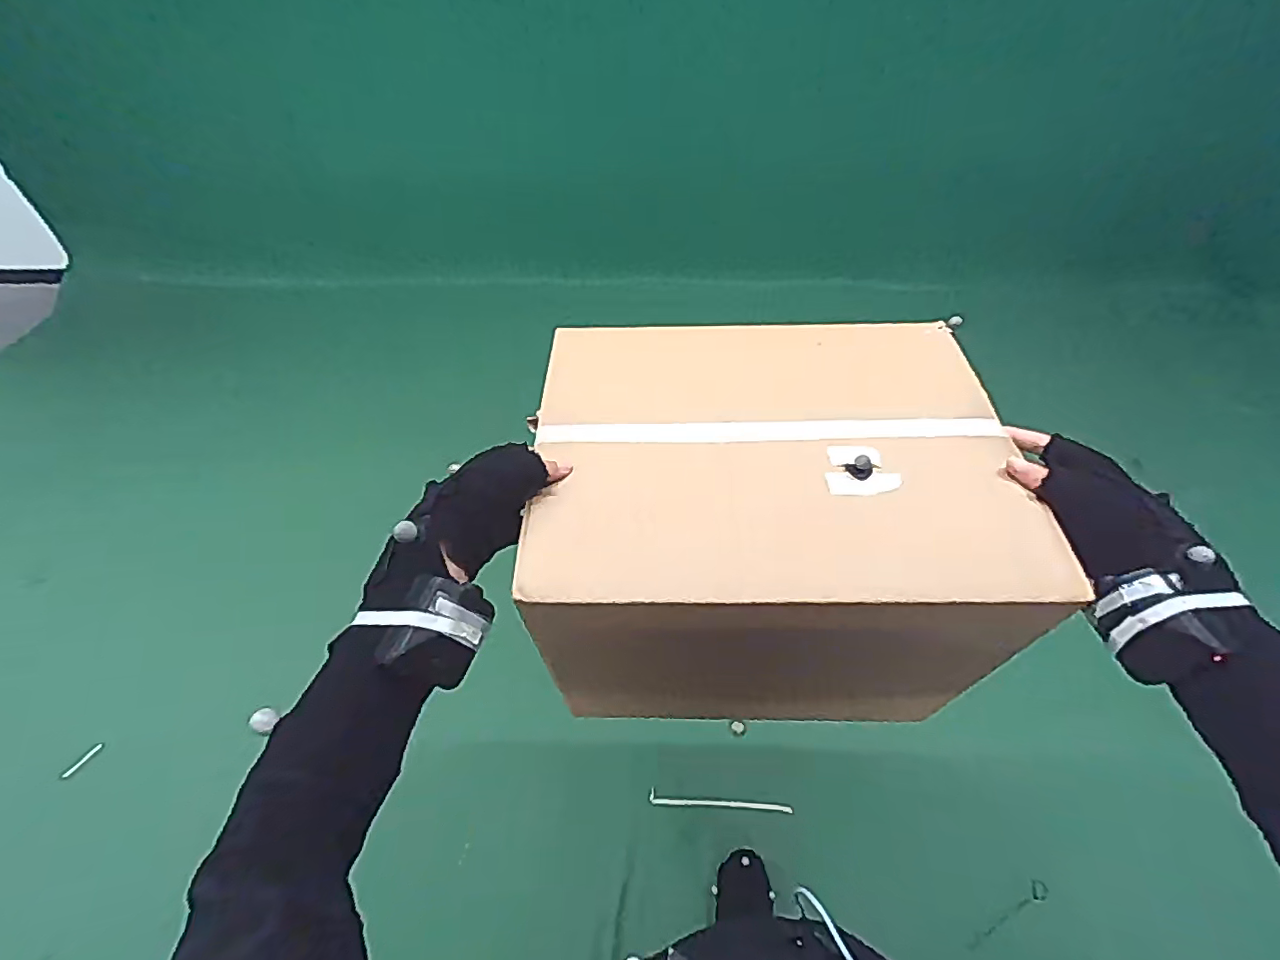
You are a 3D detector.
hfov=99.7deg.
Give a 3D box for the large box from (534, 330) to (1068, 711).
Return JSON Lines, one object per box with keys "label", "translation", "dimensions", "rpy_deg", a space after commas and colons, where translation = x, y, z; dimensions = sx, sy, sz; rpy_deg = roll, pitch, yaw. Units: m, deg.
{"label": "large box", "translation": [0.117, 0.053, 0.603], "dimensions": [0.408, 0.320, 0.320], "rpy_deg": [0, 52, 1]}
